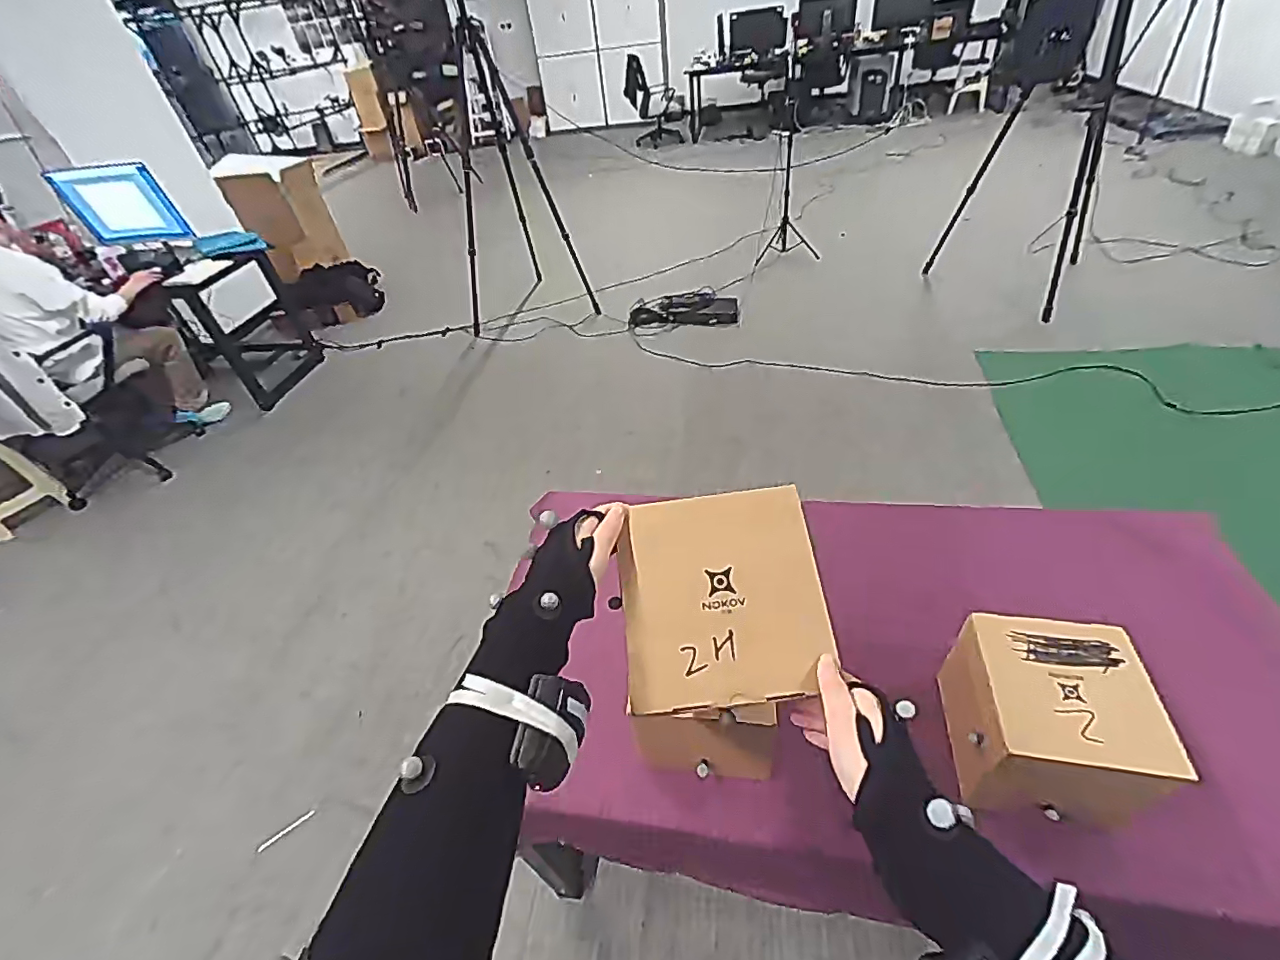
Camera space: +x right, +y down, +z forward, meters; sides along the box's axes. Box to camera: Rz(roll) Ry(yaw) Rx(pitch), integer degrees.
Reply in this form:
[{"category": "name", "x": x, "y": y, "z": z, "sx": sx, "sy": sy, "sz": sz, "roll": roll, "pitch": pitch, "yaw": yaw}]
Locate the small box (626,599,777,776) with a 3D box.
[{"category": "small box", "x": 0.087, "y": 0.284, "z": 0.736, "sx": 0.179, "sy": 0.176, "sz": 0.168, "roll": 1, "pitch": 42, "yaw": 10}]
